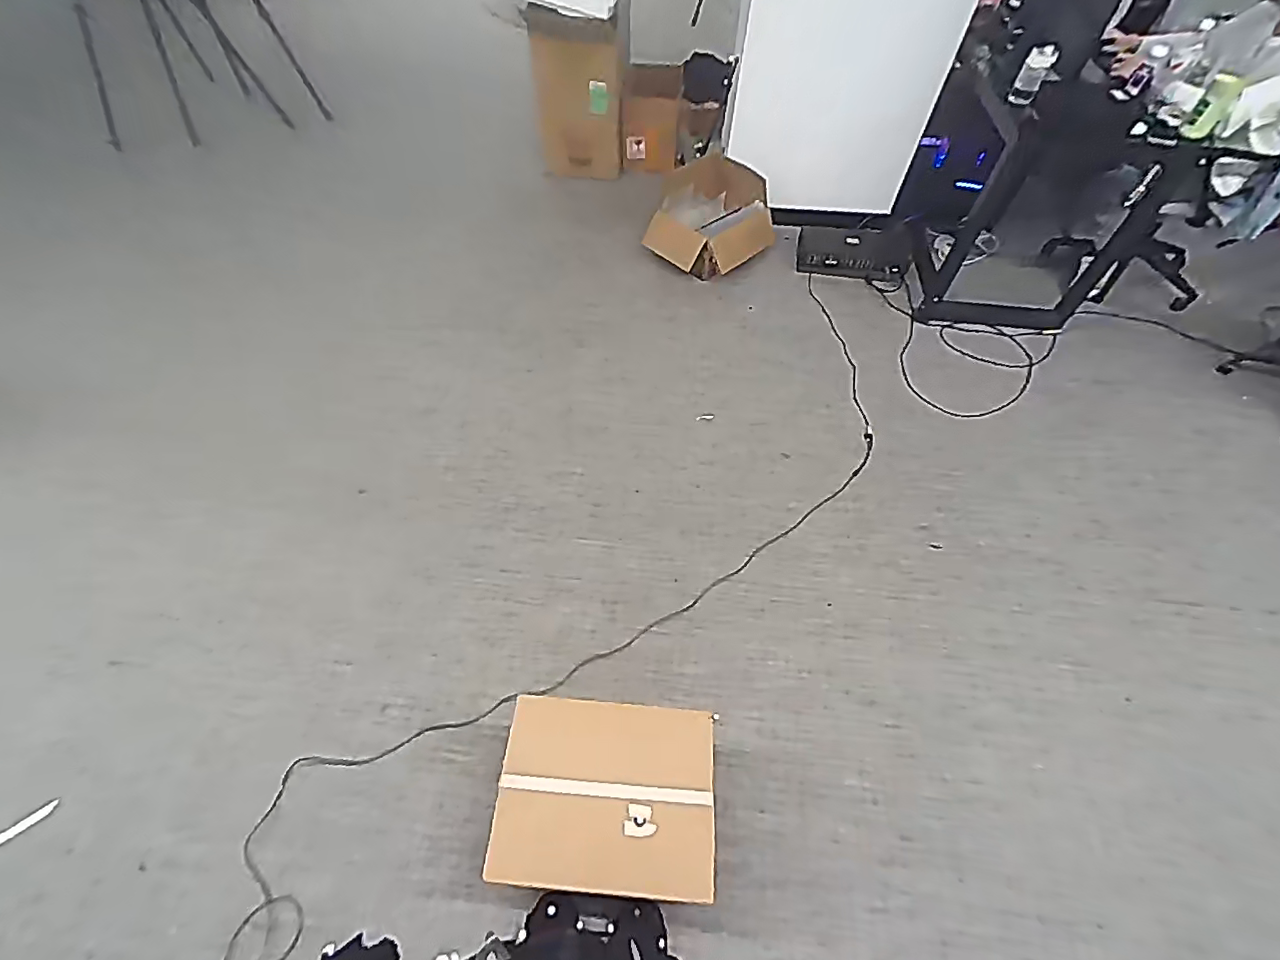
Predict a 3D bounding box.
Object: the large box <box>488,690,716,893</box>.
[{"bbox_3d":[-0.063,0.655,1.134,0.408,0.320,0.320,5,55,1],"label":"large box"}]
